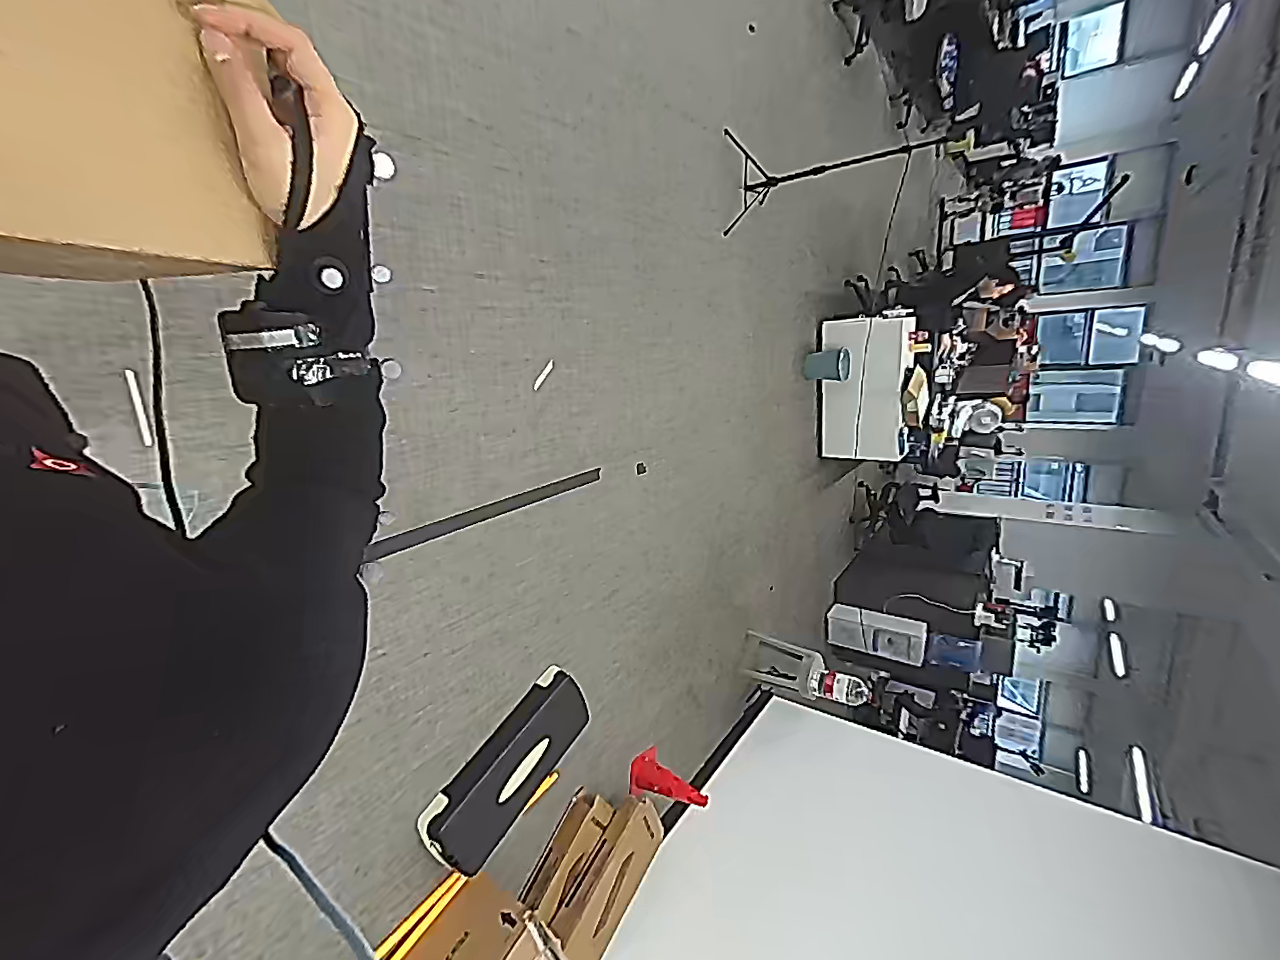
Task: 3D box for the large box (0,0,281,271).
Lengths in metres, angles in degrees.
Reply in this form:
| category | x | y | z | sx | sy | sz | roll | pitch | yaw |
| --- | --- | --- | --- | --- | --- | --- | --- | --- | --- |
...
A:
| category | x | y | z | sx | sy | sz | roll | pitch | yaw |
| --- | --- | --- | --- | --- | --- | --- | --- | --- | --- |
| large box | -0.451 | -0.270 | 0.213 | 0.408 | 0.320 | 0.320 | -20 | 118 | -56 |
